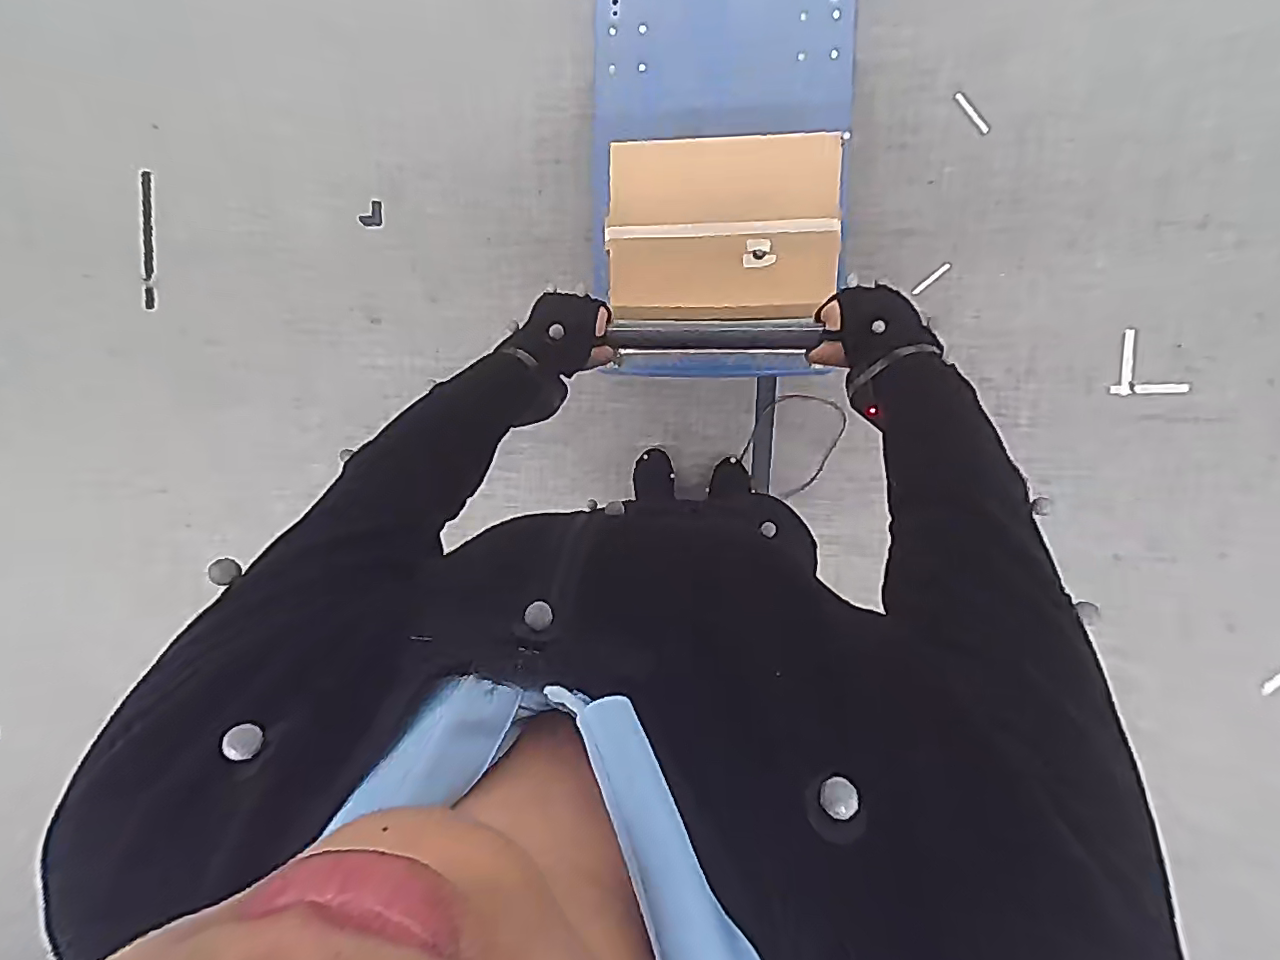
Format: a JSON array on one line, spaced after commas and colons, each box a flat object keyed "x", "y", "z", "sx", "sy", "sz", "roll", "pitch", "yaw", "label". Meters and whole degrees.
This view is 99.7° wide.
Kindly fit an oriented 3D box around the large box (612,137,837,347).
[{"x": 0.163, "y": -0.460, "z": 1.124, "sx": 0.408, "sy": 0.320, "sz": 0.320, "roll": 1, "pitch": 96, "yaw": 6, "label": "large box"}]
